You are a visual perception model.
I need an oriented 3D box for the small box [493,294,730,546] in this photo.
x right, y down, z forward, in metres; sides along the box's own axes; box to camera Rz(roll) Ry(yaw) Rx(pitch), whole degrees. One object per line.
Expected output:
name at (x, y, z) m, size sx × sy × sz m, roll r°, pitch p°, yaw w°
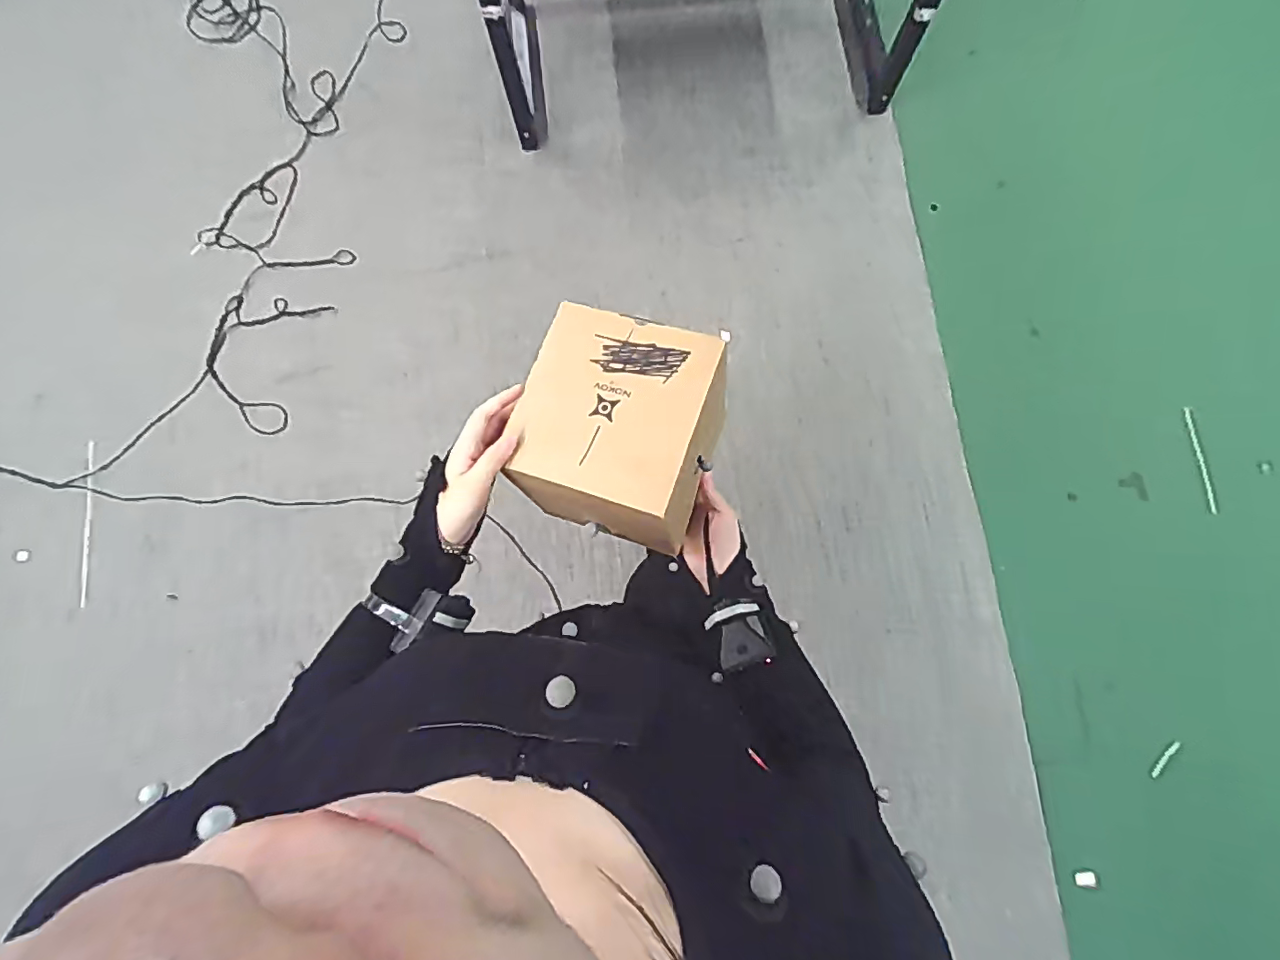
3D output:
small box at (-0.016, -0.051, 0.548) m, size 0.168 × 0.176 × 0.179 m, roll 17°, pitch 74°, yaw 13°
